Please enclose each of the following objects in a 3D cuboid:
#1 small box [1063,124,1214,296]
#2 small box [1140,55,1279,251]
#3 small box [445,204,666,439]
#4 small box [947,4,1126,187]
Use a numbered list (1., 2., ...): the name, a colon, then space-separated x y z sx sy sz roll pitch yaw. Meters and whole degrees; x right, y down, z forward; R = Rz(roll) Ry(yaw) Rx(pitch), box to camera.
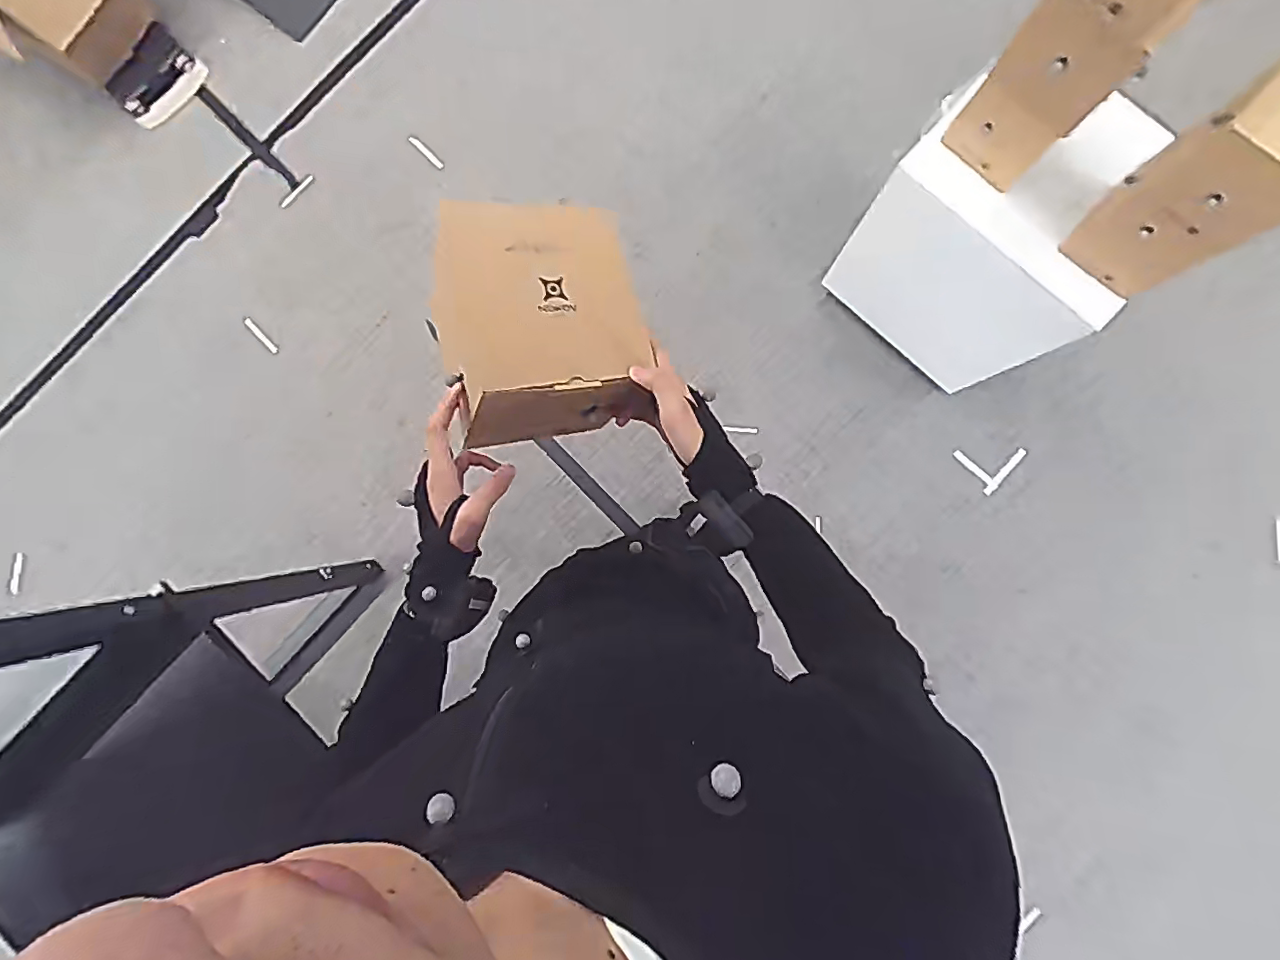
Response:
1. small box: 0.921 -0.470 0.966 0.168 0.176 0.179 41 89 6
2. small box: 0.913 -0.482 0.802 0.168 0.176 0.179 42 89 5
3. small box: -0.097 -0.148 0.556 0.168 0.176 0.179 -10 81 -26
4. small box: 0.707 -0.690 0.994 0.168 0.176 0.179 44 89 4
